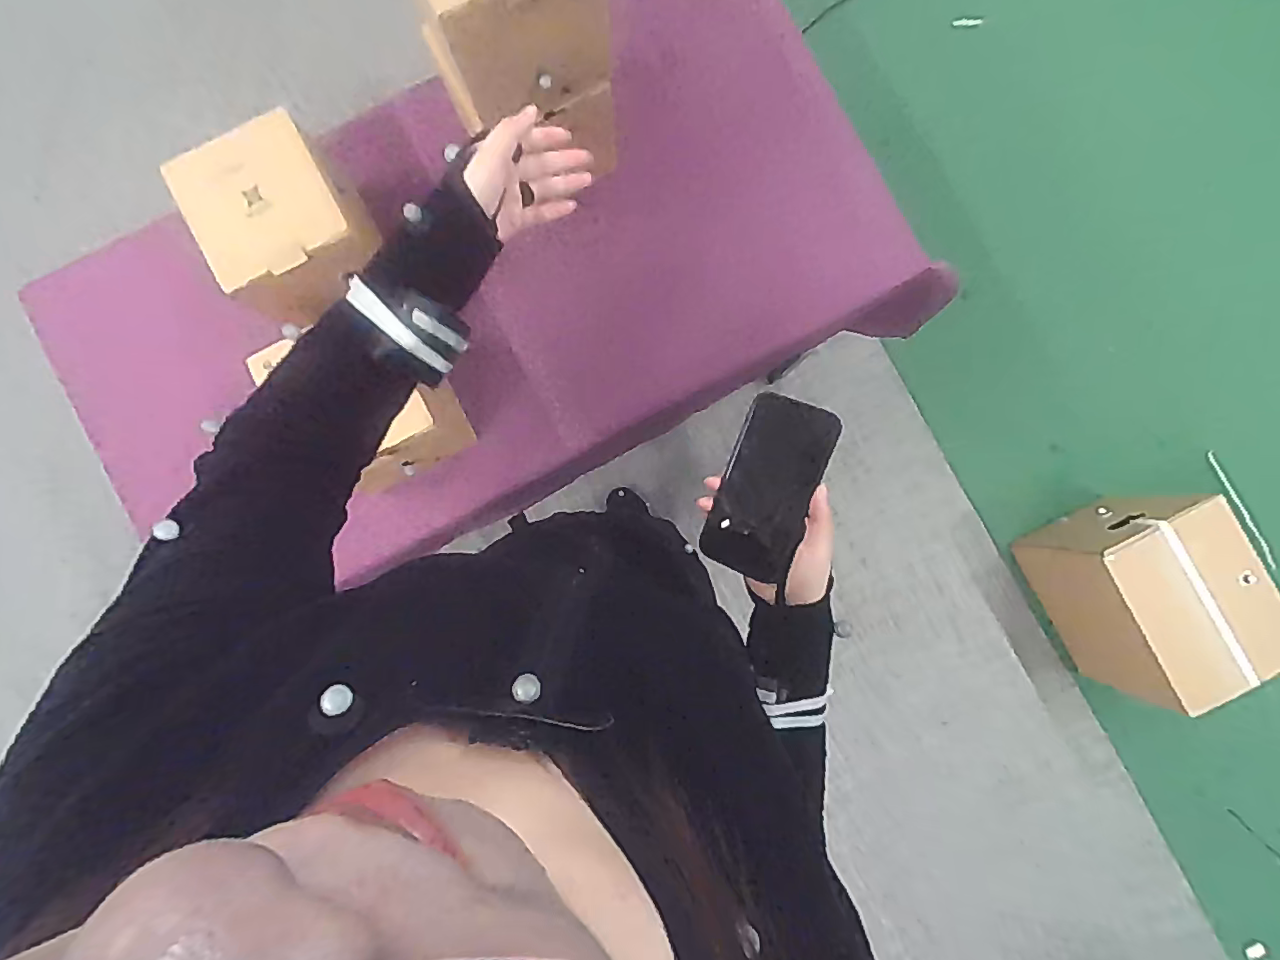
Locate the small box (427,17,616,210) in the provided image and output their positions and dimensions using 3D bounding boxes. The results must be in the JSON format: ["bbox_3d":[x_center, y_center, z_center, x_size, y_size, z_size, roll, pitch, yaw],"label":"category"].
[{"bbox_3d":[-0.144,-0.508,0.720,0.168,0.176,0.179,-30,89,0],"label":"small box"}]

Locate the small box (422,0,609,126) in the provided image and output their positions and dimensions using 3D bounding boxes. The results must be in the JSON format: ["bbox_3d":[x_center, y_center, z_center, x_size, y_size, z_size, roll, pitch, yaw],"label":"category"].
[{"bbox_3d":[-0.143,-0.521,0.555,0.168,0.176,0.179,-28,89,0],"label":"small box"}]

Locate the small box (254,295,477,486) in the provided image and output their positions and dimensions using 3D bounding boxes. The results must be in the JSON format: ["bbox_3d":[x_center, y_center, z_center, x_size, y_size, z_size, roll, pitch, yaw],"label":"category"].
[{"bbox_3d":[-0.340,-0.105,0.710,0.168,0.176,0.179,-27,89,-1],"label":"small box"}]

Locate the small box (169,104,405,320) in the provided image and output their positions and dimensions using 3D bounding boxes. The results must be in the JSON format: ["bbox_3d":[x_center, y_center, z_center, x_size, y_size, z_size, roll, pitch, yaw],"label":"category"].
[{"bbox_3d":[-0.447,-0.333,0.718,0.168,0.176,0.179,-28,88,-1],"label":"small box"}]
